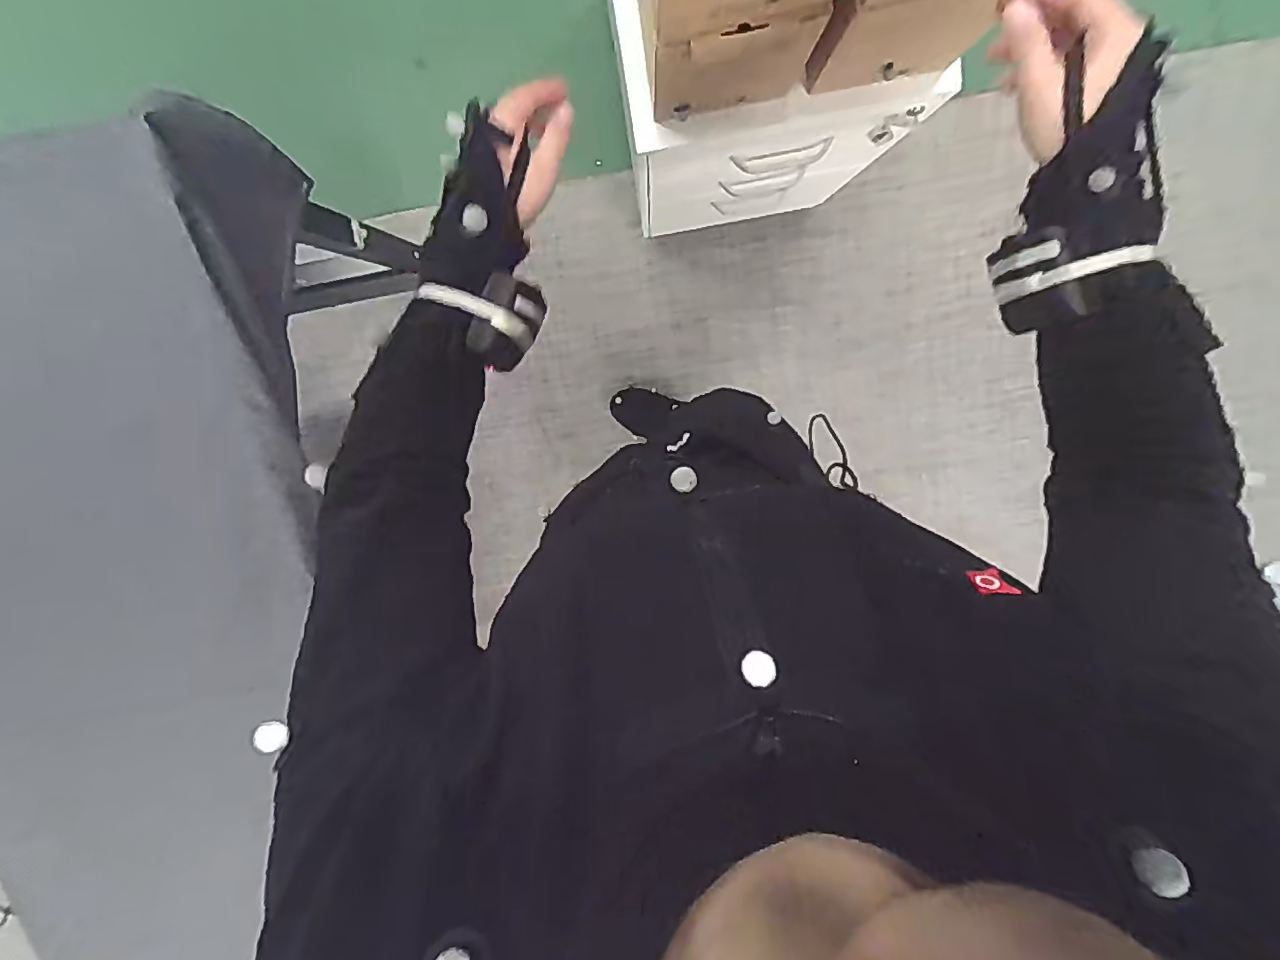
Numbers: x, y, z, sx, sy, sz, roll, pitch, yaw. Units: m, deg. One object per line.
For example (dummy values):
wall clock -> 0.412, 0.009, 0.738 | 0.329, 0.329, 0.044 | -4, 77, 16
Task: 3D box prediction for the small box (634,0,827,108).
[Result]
small box -> 0.078, -0.513, 0.552 | 0.168, 0.176, 0.179 | -9, 103, 2
